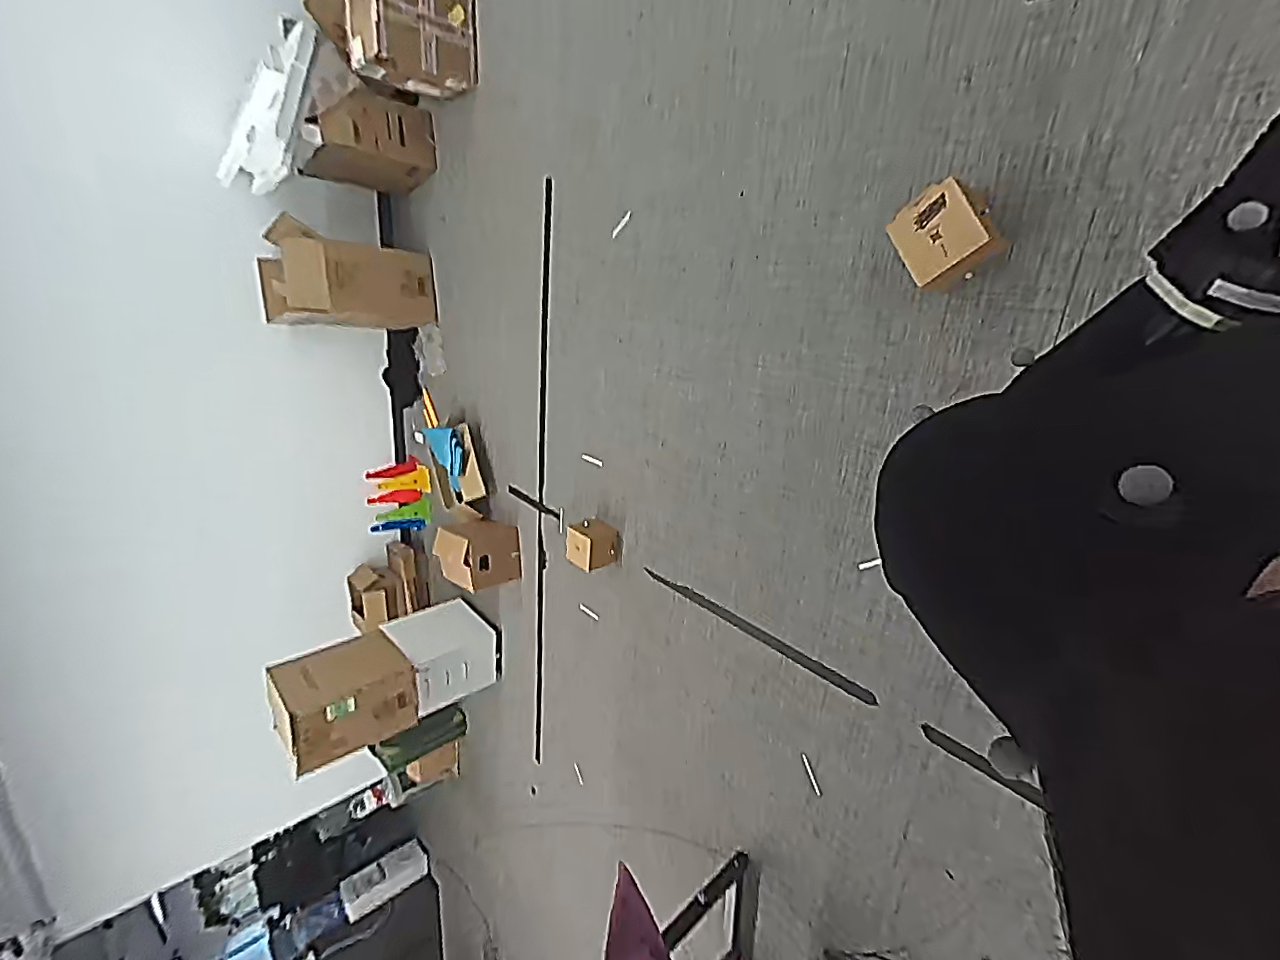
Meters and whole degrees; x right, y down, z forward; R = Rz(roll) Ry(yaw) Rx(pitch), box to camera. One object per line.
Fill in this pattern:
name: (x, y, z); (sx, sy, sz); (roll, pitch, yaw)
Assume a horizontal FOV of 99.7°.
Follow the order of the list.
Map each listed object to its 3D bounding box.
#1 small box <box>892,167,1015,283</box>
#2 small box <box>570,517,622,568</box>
small box: (0.734, -0.583, 1.264); (0.168, 0.176, 0.179); (-34, 75, 47)
small box: (-0.206, 0.281, 2.506); (0.179, 0.176, 0.168); (22, 116, 42)
